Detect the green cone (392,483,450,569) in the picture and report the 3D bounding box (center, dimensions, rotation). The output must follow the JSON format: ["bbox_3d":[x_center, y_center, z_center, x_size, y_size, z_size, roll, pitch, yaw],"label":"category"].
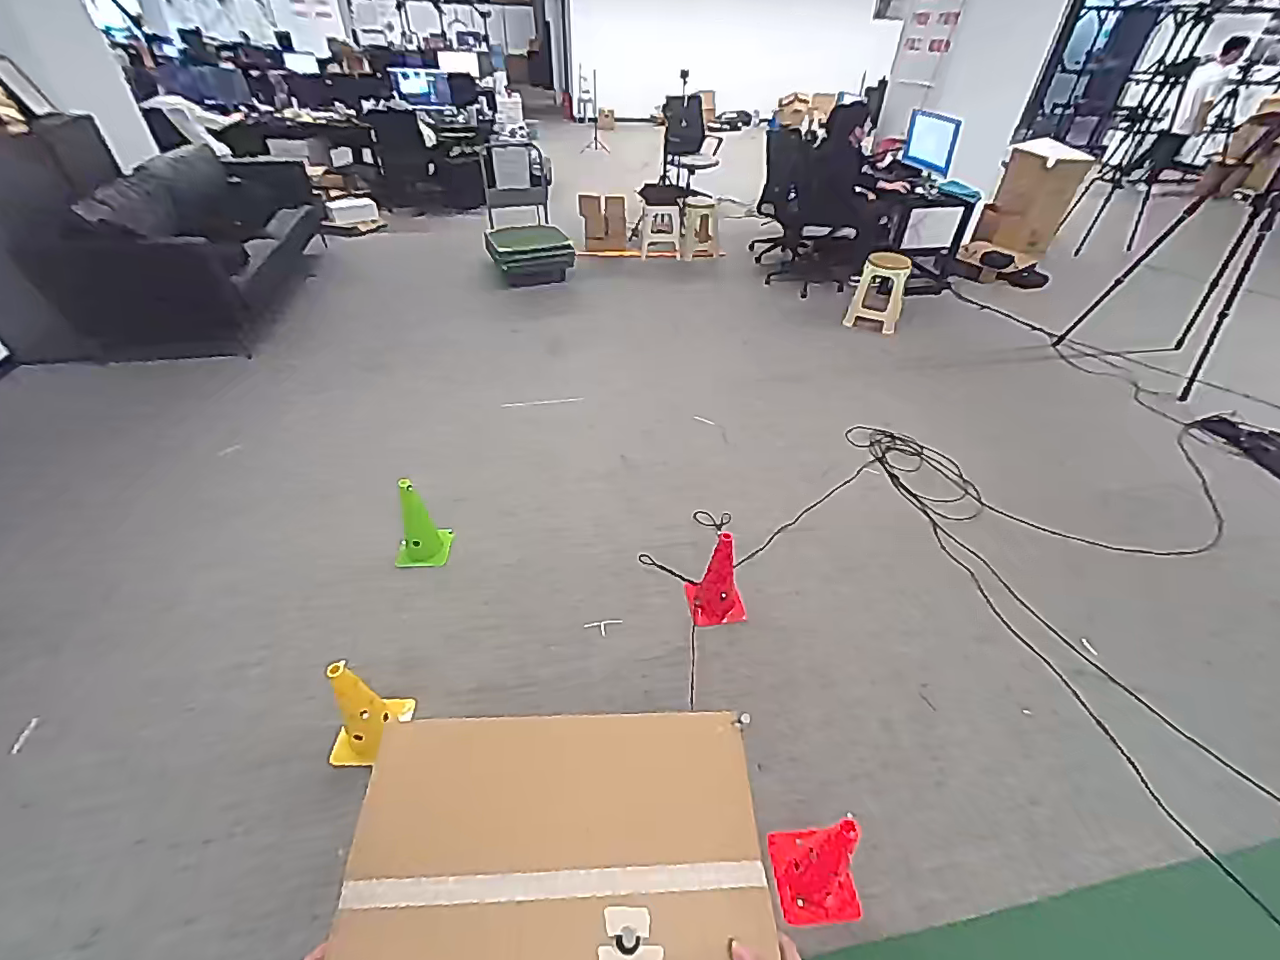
[{"bbox_3d":[-0.884,0.152,2.086,0.200,0.368,0.202,-2,42,-4],"label":"green cone"}]

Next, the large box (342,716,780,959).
[{"bbox_3d":[-0.082,0.496,0.635,0.408,0.320,0.320,0,49,-4],"label":"large box"}]

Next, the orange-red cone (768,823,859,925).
[{"bbox_3d":[0.447,0.888,1.277,0.199,0.360,0.198,0,41,-4],"label":"orange-red cone"}]
